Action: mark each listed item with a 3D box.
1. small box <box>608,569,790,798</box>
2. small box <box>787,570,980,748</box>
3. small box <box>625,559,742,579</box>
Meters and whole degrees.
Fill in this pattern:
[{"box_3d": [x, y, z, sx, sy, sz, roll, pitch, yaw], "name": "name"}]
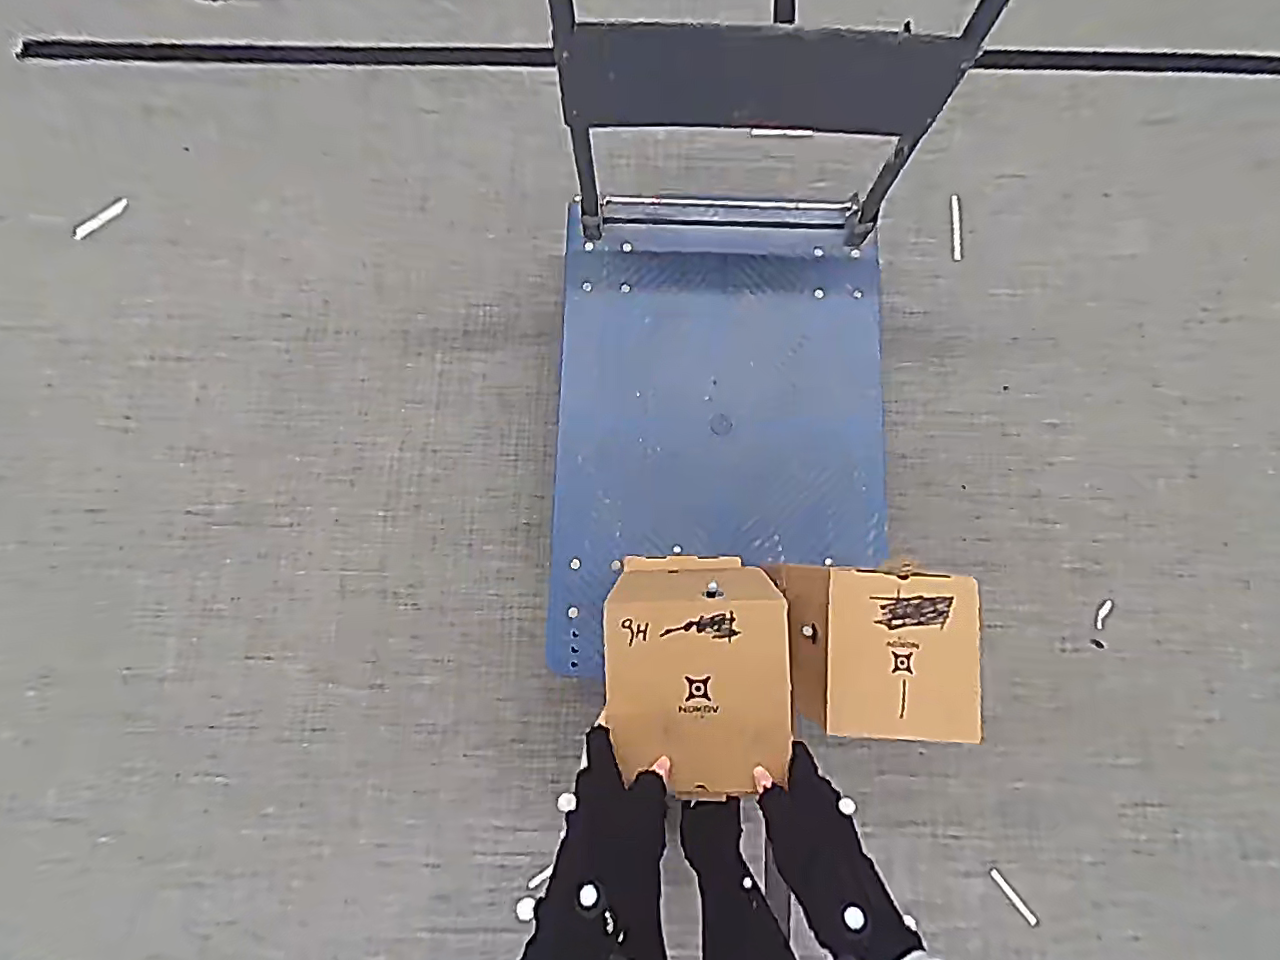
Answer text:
[{"box_3d": [0.059, 0.197, 0.567, 0.168, 0.176, 0.179, -1, 91, 4], "name": "small box"}, {"box_3d": [0.281, 0.203, 0.659, 0.168, 0.176, 0.179, 4, 83, 0], "name": "small box"}, {"box_3d": [0.060, 0.211, 0.822, 0.168, 0.176, 0.179, 1, 81, -1], "name": "small box"}]
